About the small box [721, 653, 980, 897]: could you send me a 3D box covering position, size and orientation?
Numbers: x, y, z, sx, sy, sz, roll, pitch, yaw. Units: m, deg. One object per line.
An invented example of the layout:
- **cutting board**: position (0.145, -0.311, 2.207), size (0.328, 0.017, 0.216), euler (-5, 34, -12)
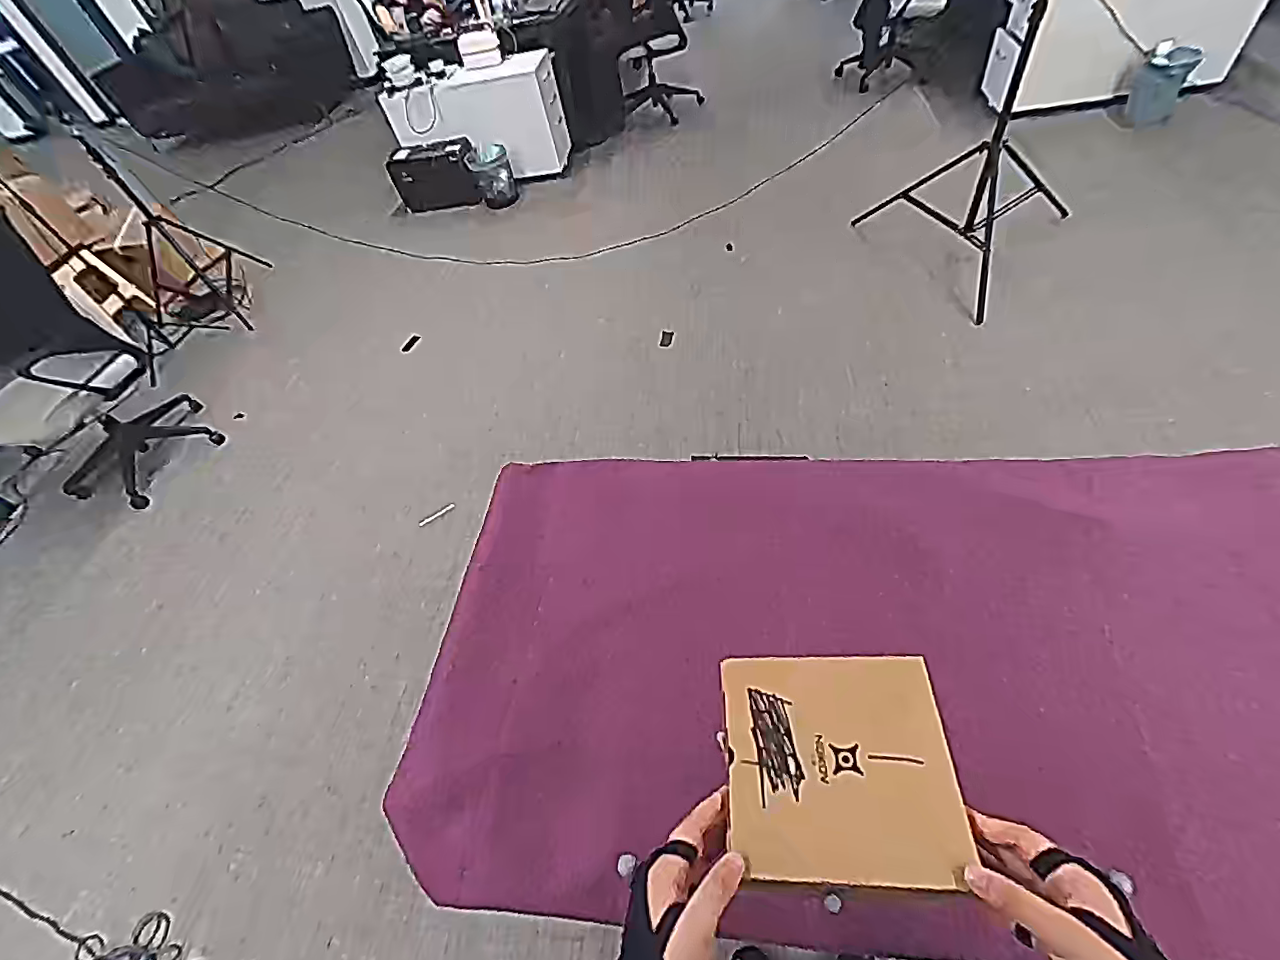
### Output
- **small box**: position (0.169, 0.270, 0.495), size (0.179, 0.176, 0.168), euler (-3, 50, 10)
